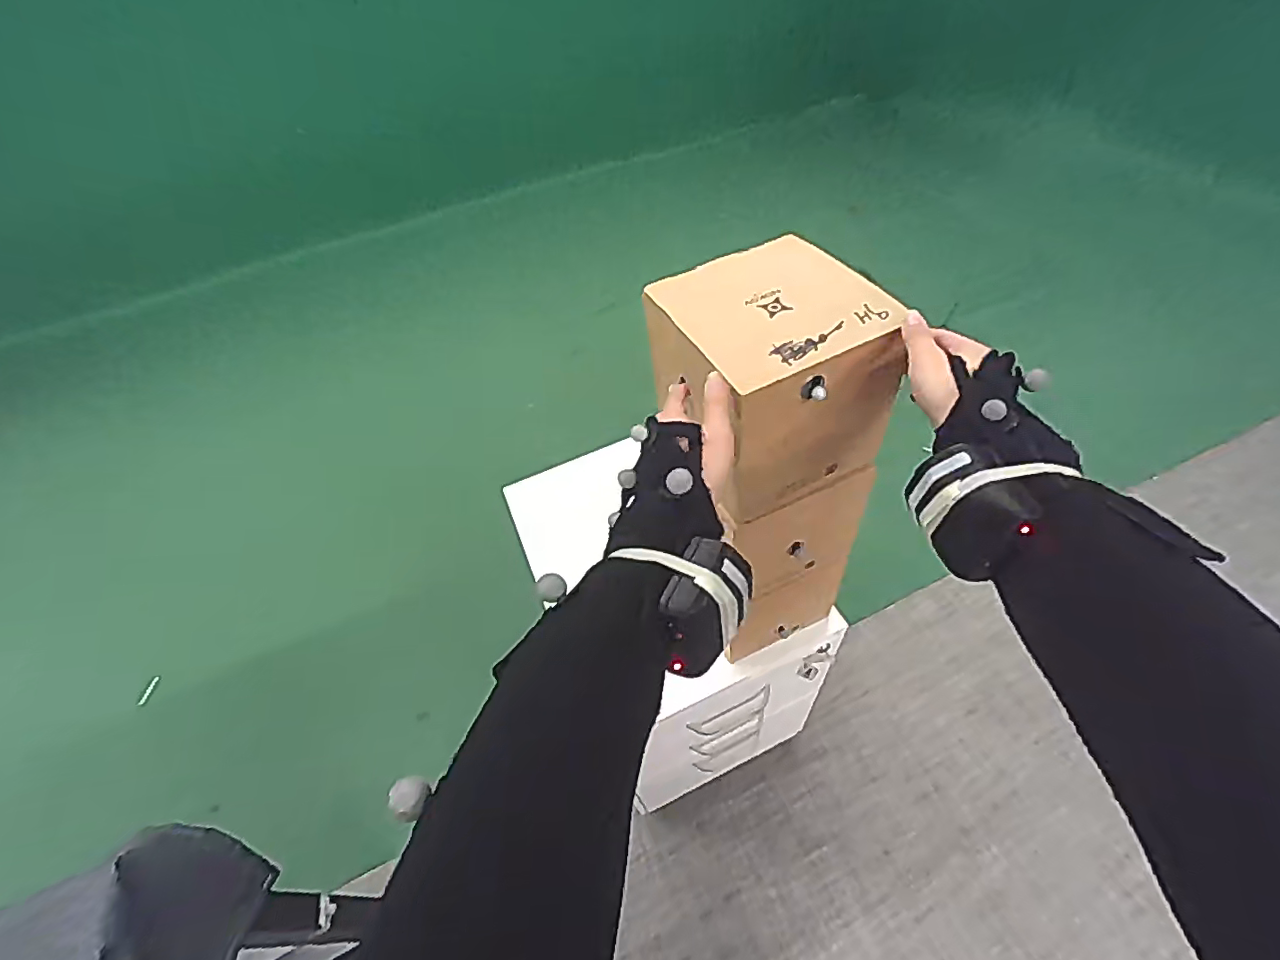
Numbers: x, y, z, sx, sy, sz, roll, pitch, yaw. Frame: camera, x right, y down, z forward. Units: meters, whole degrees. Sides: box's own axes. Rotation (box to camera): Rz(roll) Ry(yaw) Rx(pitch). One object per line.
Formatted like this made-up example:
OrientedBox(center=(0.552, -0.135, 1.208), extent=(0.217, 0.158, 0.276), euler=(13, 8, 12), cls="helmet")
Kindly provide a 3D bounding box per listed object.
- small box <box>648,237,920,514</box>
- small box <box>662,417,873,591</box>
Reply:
OrientedBox(center=(0.122, -0.100, 0.521), extent=(0.168, 0.176, 0.179), euler=(-23, 51, -11), cls="small box")
OrientedBox(center=(0.140, 0.010, 0.642), extent=(0.168, 0.176, 0.179), euler=(-21, 51, -10), cls="small box")
